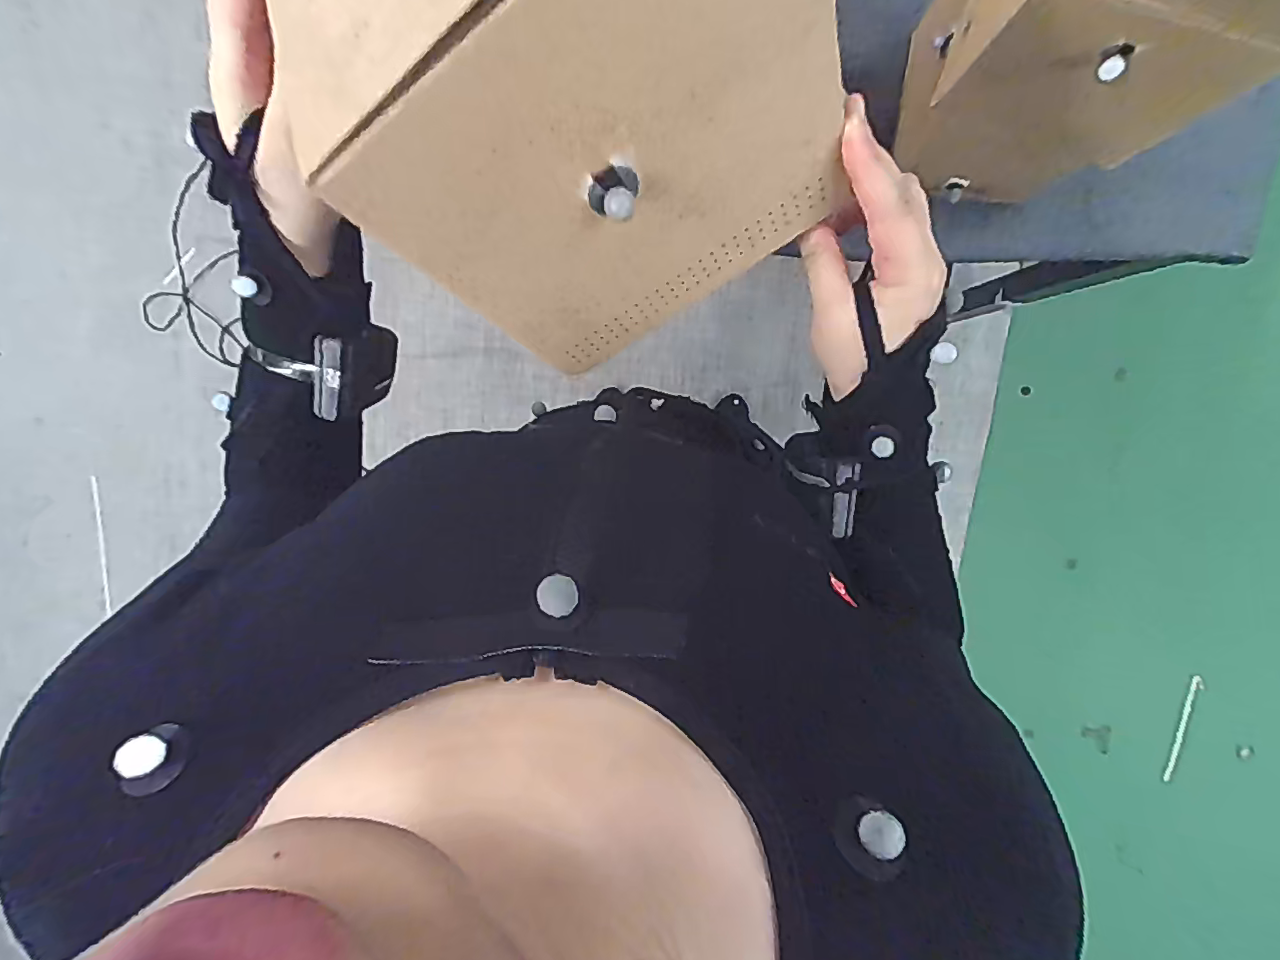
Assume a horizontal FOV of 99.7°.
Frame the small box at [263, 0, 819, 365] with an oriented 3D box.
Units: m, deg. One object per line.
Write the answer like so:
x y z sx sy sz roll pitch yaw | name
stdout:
-0.032 -0.185 0.251 0.179 0.176 0.168 -29 68 18 | small box

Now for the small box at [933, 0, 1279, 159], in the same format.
0.365 -0.375 0.406 0.179 0.176 0.168 19 99 3 | small box

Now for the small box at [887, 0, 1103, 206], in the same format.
0.380 -0.414 0.563 0.168 0.176 0.179 8 100 4 | small box
